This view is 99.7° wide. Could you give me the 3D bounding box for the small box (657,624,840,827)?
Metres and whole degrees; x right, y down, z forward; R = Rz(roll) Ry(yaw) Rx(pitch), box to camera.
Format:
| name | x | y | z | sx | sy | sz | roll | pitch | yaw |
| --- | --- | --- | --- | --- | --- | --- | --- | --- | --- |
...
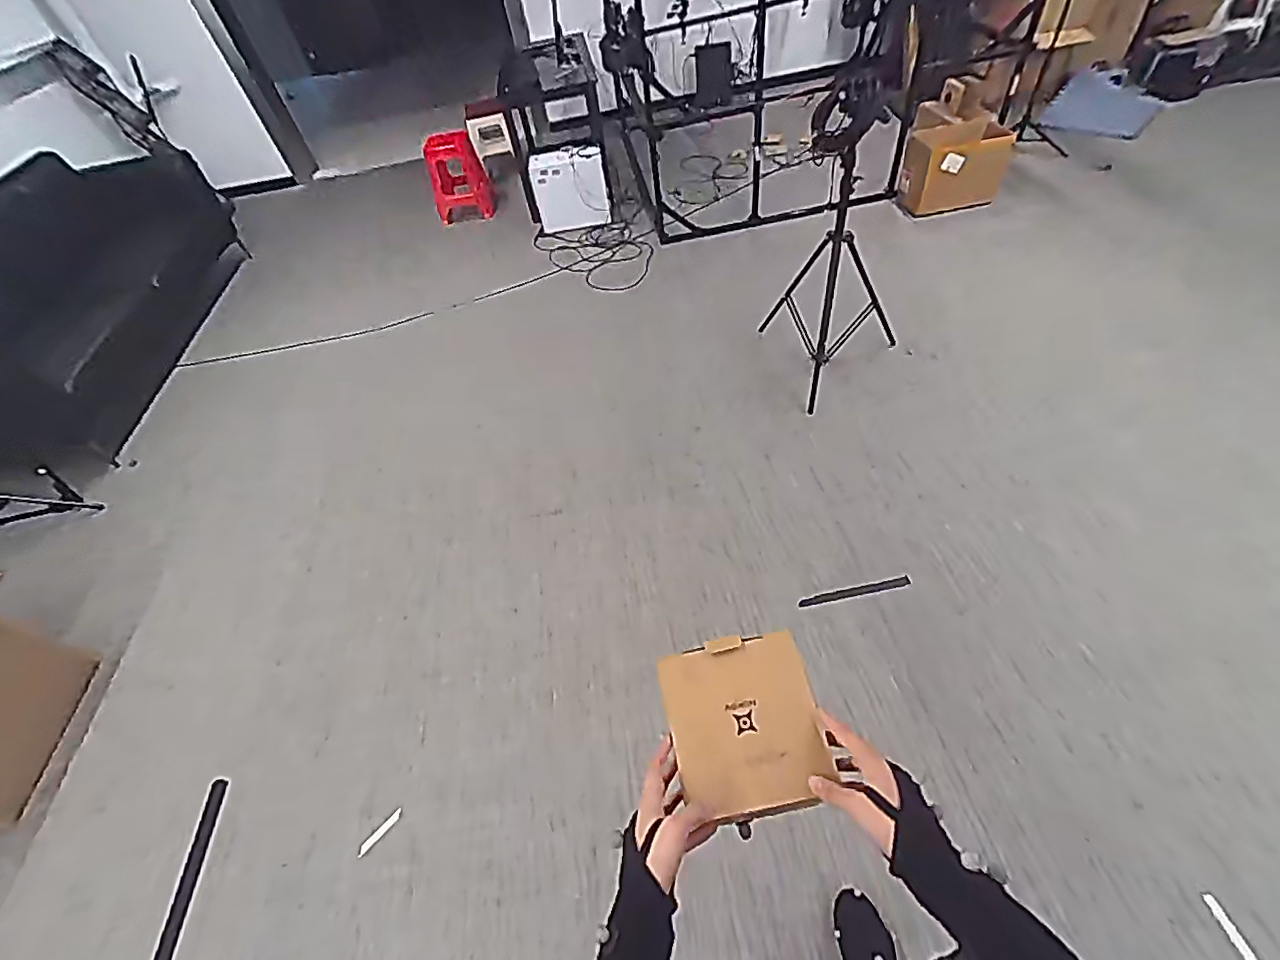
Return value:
| name | x | y | z | sx | sy | sz | roll | pitch | yaw |
| --- | --- | --- | --- | --- | --- | --- | --- | --- | --- |
| small box | 0.117 | 0.301 | 0.660 | 0.168 | 0.176 | 0.179 | -11 | 53 | -2 |
